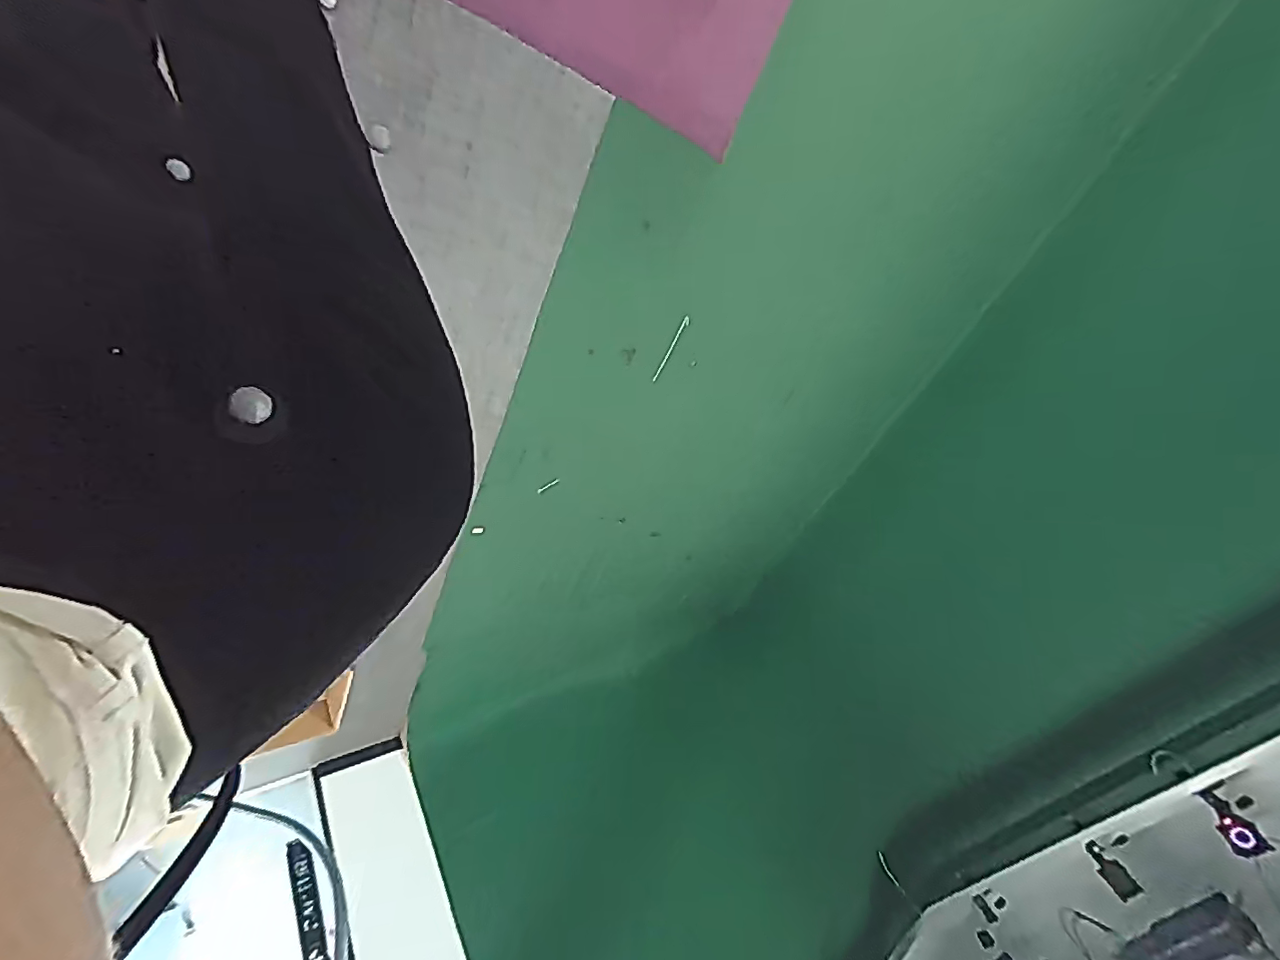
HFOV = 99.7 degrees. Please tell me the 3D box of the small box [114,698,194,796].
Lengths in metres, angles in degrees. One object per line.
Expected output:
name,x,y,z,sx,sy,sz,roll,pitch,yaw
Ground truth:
small box,-1.403,0.767,1.564,0.168,0.176,0.179,0,131,-41
